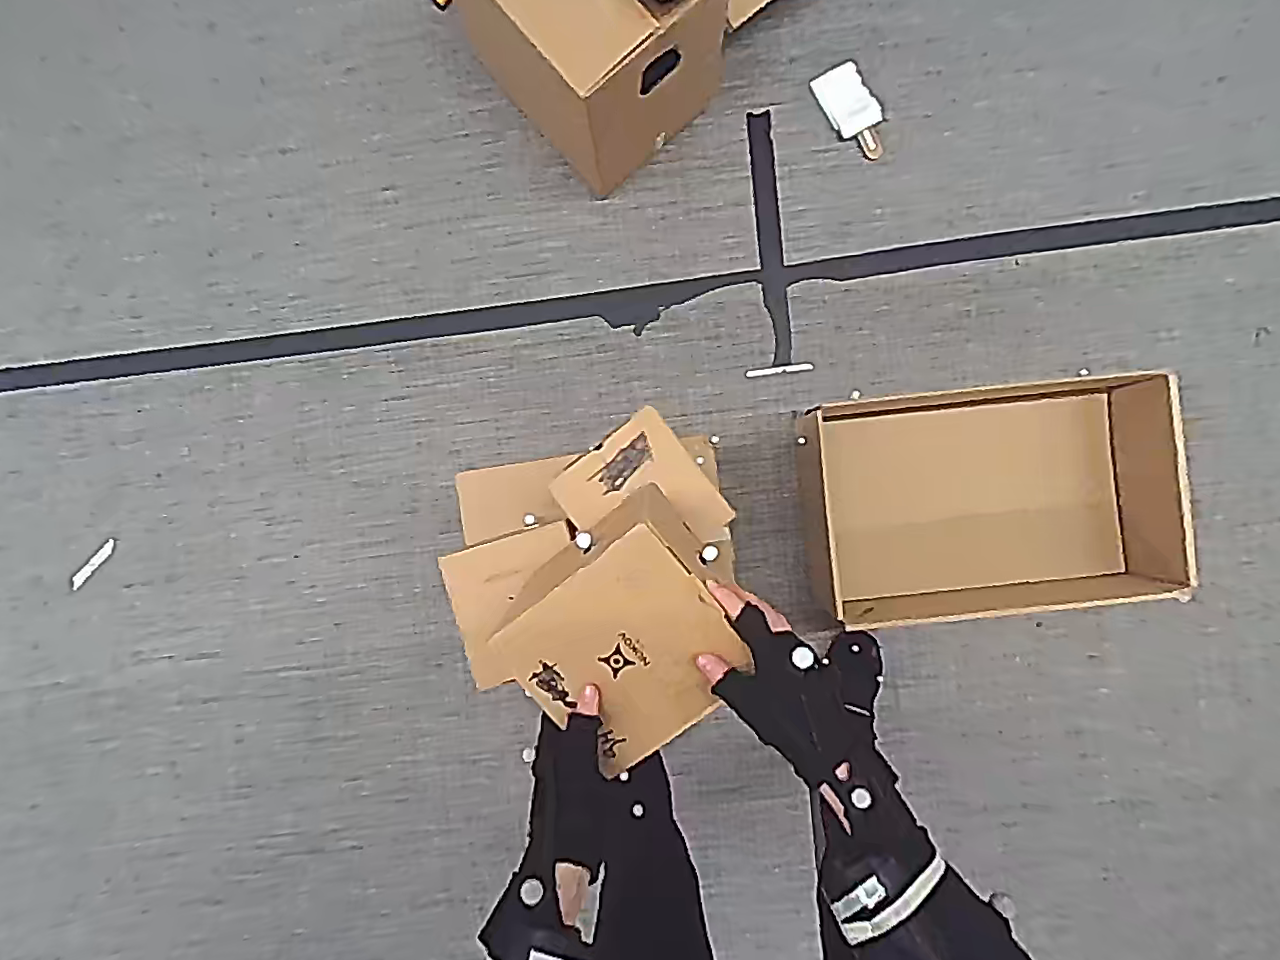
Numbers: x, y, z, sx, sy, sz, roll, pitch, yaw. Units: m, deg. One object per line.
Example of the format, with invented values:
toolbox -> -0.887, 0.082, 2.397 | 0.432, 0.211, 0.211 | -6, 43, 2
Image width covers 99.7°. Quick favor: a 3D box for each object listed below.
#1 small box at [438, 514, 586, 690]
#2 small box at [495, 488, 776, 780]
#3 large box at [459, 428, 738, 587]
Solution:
small box -> -0.146, 0.154, 0.741 | 0.168, 0.176, 0.179 | -17, 89, 0
small box -> -0.002, 0.128, 0.518 | 0.179, 0.176, 0.168 | -38, 96, 8
large box -> -0.060, 0.105, 0.980 | 0.408, 0.320, 0.320 | -10, 91, 1
